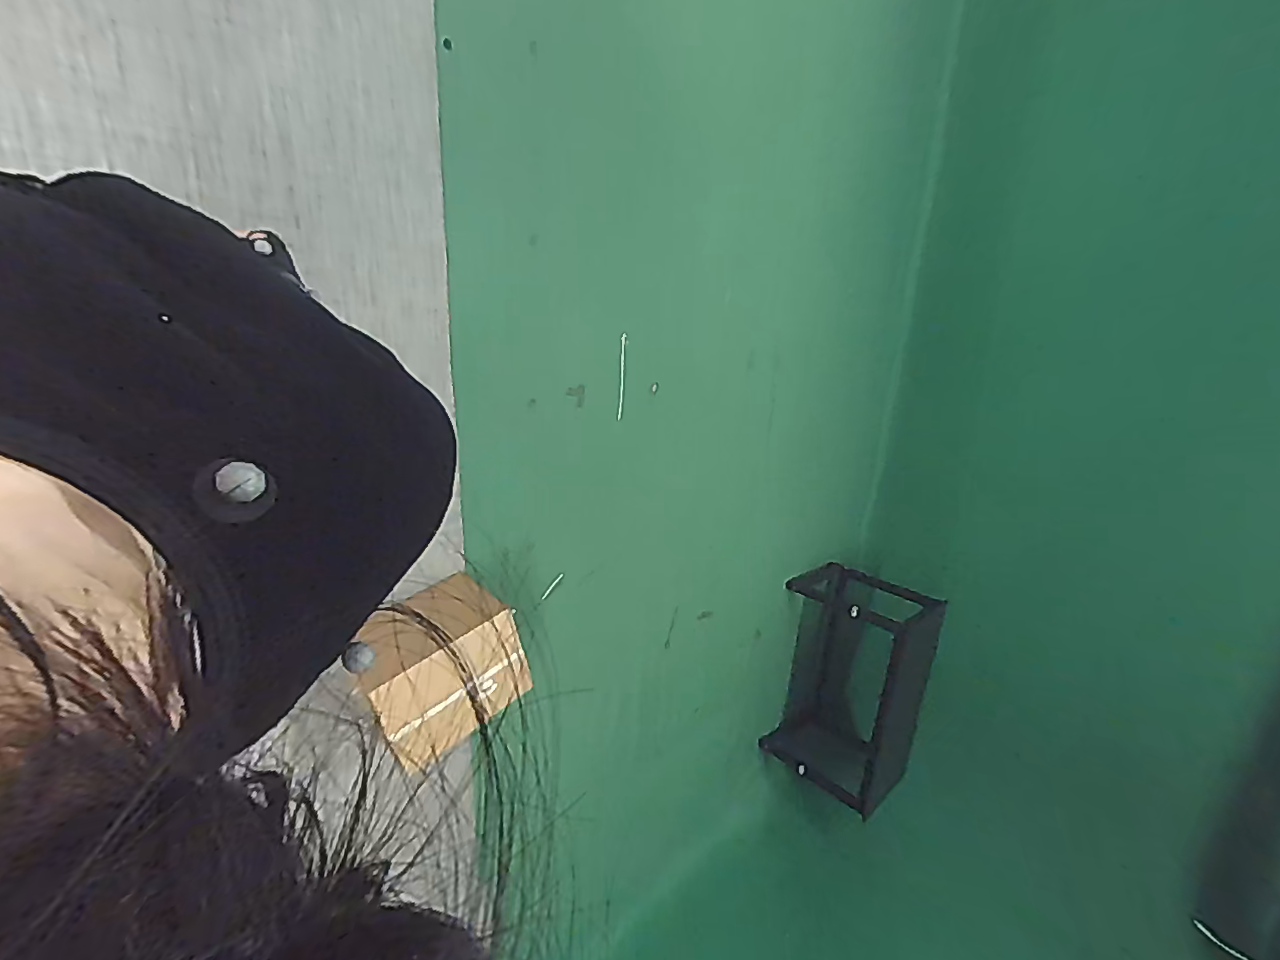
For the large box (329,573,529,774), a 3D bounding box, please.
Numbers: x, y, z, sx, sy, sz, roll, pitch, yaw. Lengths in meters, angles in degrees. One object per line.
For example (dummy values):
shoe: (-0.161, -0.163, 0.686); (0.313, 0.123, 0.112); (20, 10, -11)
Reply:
large box: (-0.605, 0.537, 1.581); (0.408, 0.320, 0.320); (-29, 123, -37)
